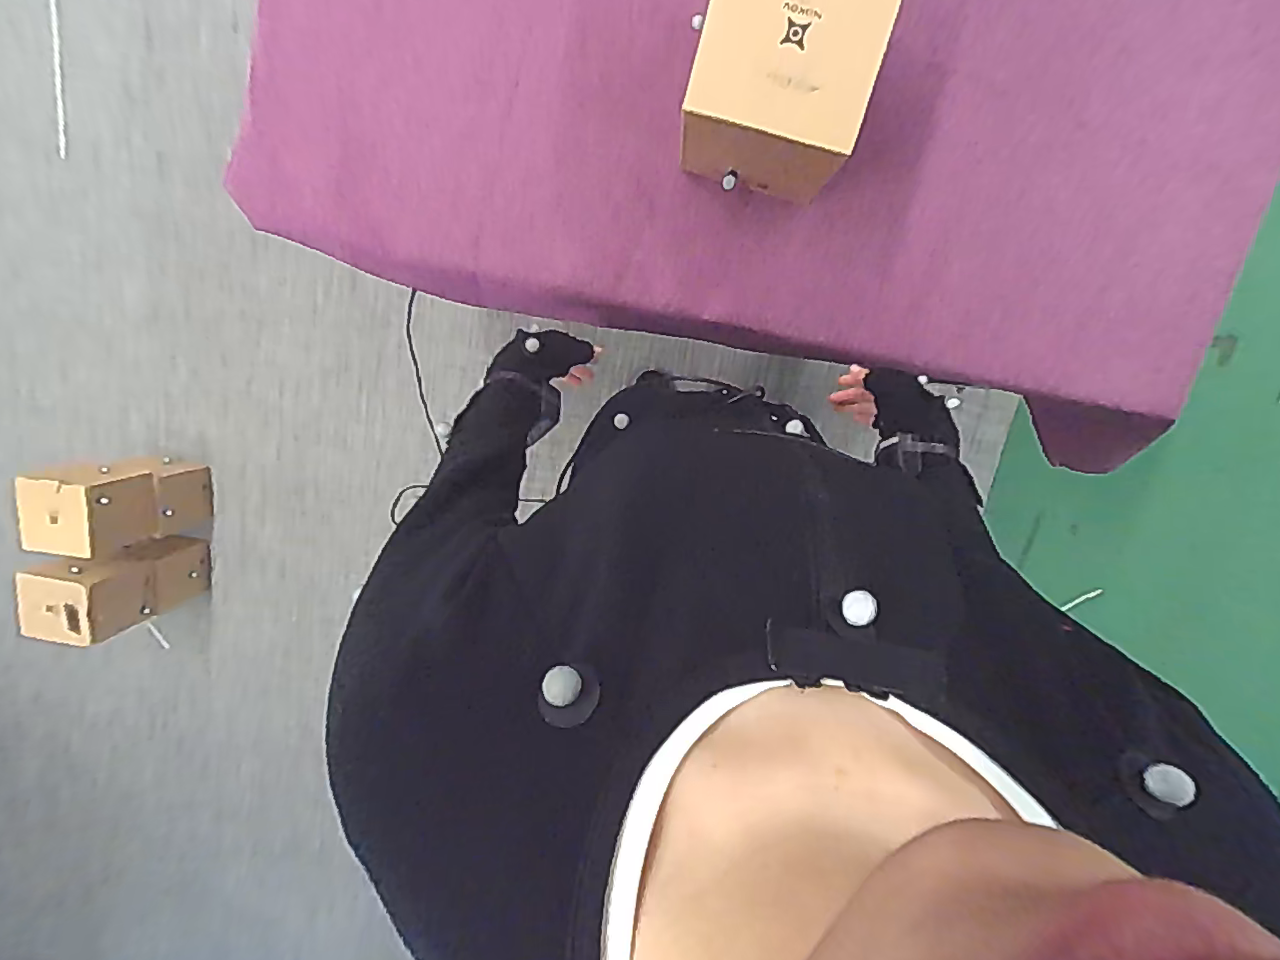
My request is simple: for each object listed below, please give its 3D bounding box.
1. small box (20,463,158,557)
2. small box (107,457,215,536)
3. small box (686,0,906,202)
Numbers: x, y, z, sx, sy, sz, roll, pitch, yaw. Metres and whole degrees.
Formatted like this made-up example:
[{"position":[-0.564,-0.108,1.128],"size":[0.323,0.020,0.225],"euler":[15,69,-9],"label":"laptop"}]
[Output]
[{"position":[-1.315,0.067,1.305],"size":[0.168,0.176,0.179],"euler":[8,102,0],"label":"small box"},{"position":[-1.305,0.039,1.466],"size":[0.179,0.176,0.168],"euler":[9,103,1],"label":"small box"},{"position":[0.147,-0.420,0.559],"size":[0.168,0.176,0.179],"euler":[16,103,0],"label":"small box"}]
